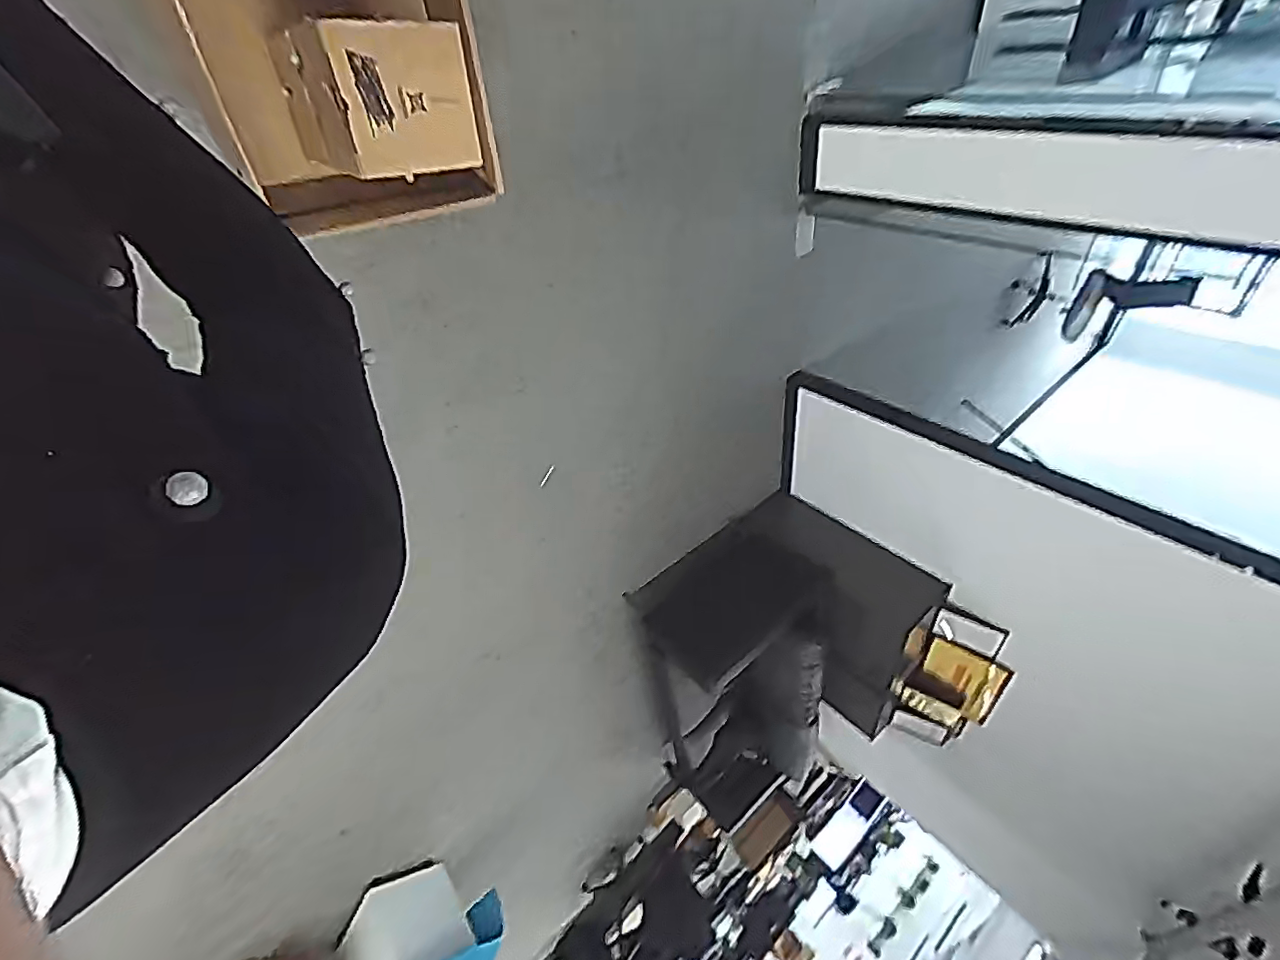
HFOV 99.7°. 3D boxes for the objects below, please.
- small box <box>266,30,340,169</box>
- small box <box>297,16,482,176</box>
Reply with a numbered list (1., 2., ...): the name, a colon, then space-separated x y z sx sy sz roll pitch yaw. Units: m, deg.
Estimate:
1. small box: -0.455 -0.606 0.860 0.179 0.176 0.168 -27 133 -28
2. small box: -0.351 -0.531 0.756 0.179 0.176 0.168 -27 134 -30
